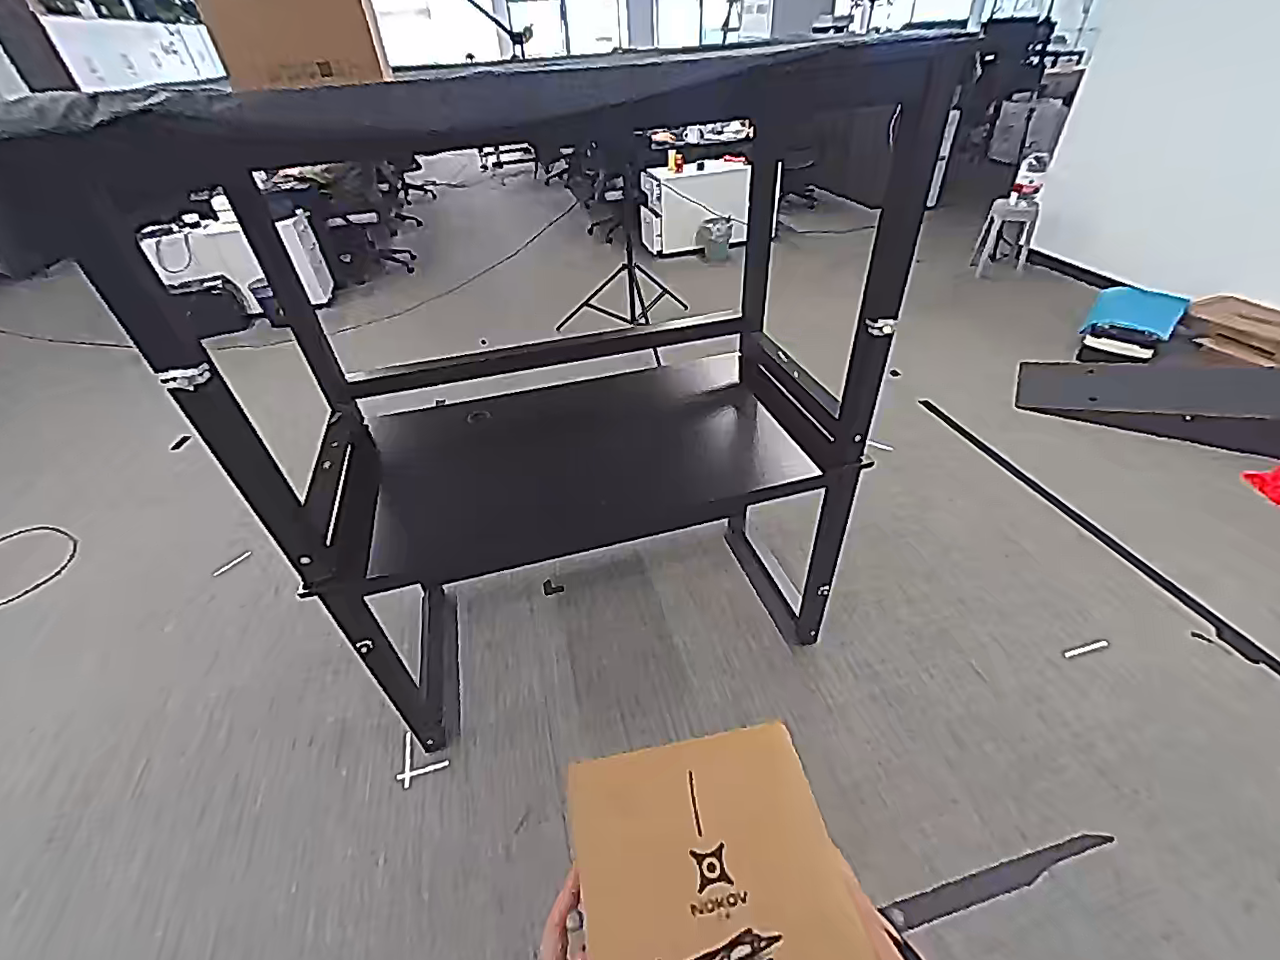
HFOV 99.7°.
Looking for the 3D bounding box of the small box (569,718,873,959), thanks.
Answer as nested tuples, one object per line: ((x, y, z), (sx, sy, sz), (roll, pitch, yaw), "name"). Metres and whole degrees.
((0.045, 0.306, 0.394), (0.168, 0.176, 0.179), (-8, 45, -8), "small box")
